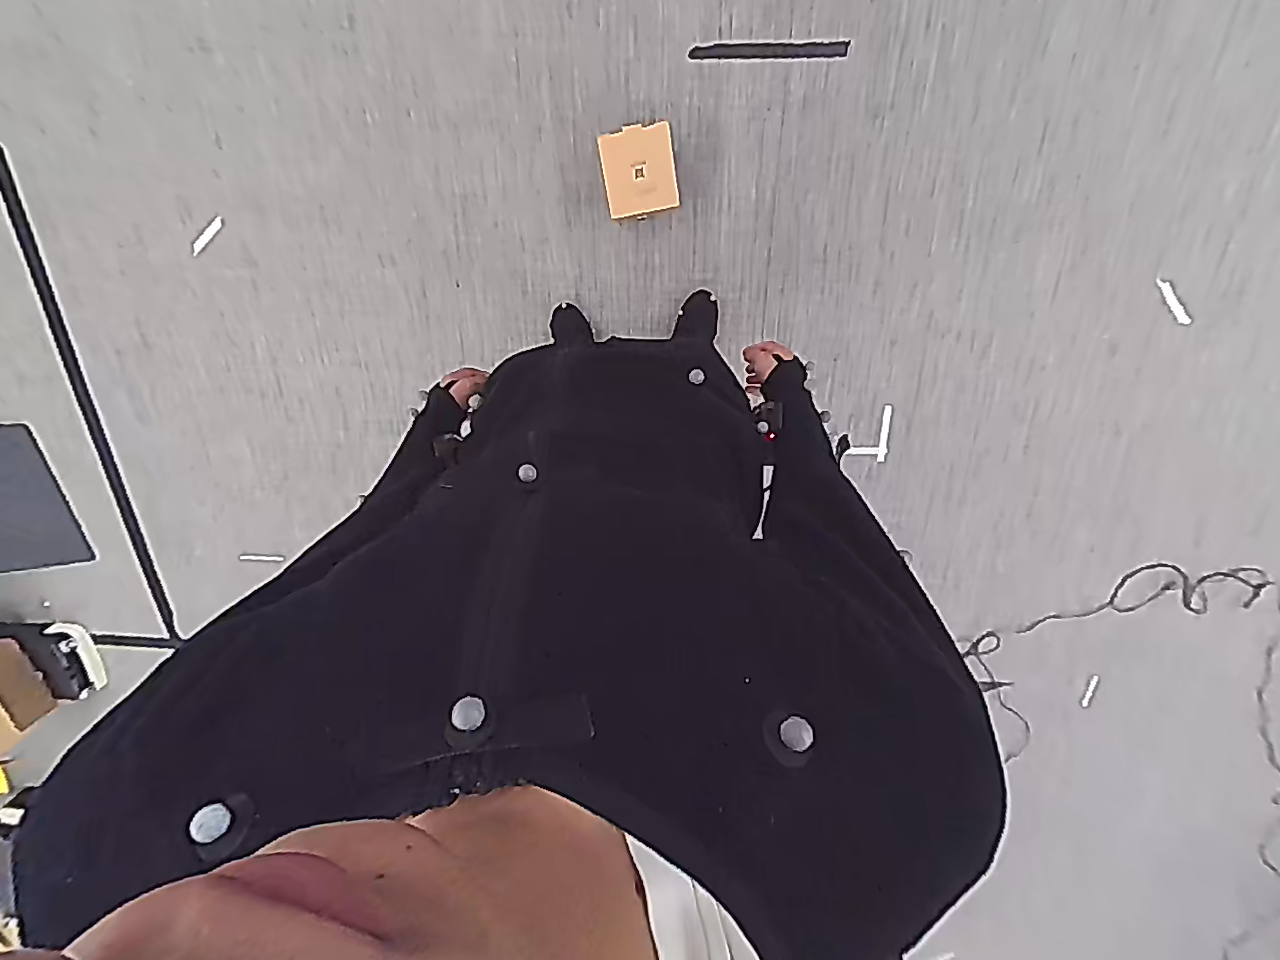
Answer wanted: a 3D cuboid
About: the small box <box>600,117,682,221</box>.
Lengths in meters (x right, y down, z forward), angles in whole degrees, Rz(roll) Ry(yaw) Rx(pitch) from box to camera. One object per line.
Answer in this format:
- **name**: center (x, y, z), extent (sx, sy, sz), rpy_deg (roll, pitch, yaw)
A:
- **small box**: center (0.006, -0.735, 1.297), extent (0.168, 0.176, 0.179), rpy_deg (-8, 112, 7)
